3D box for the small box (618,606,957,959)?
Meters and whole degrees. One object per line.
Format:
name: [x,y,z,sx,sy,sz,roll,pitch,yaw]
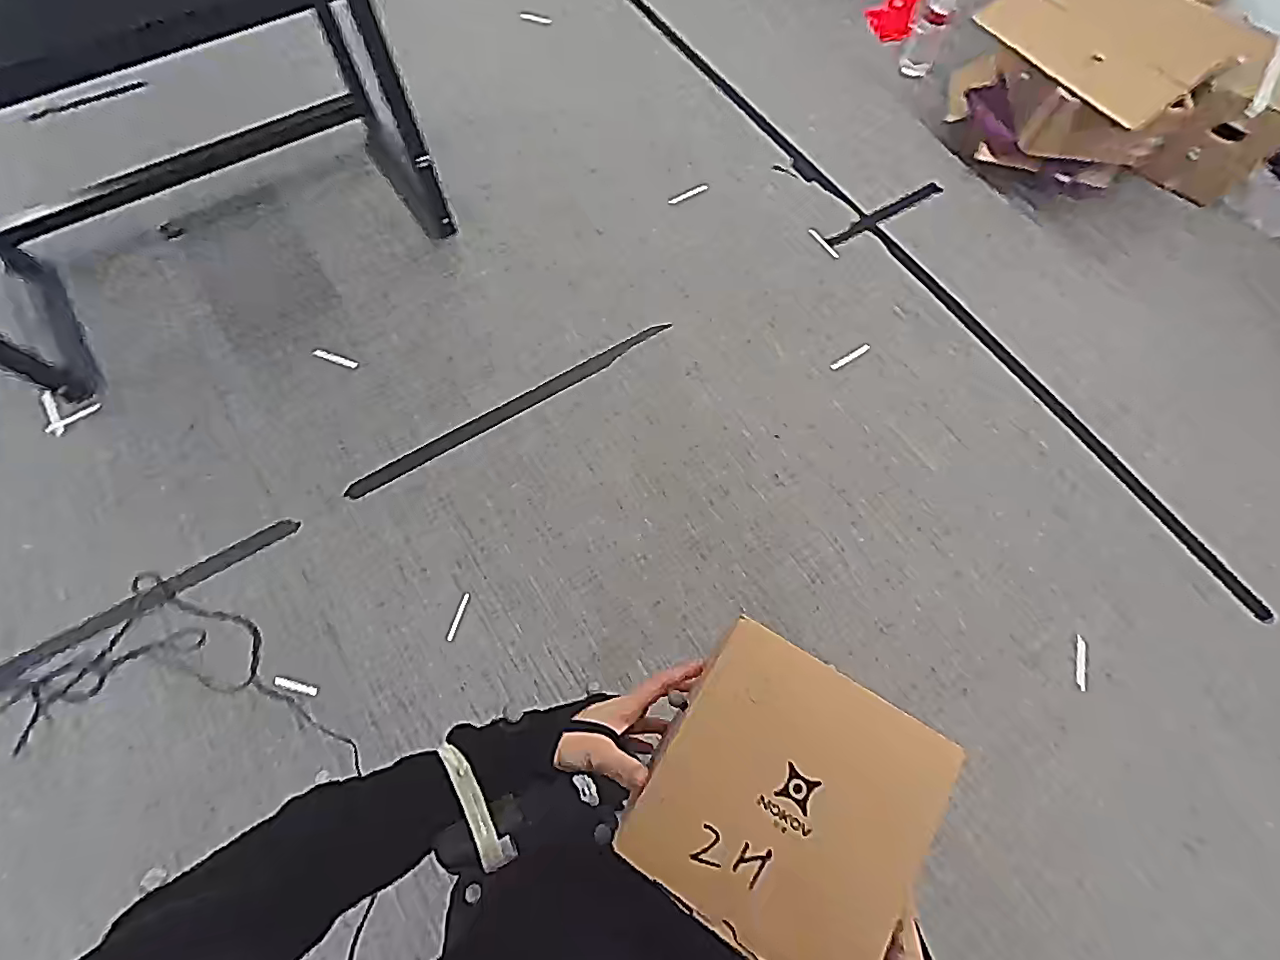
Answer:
small box: [0.100,0.223,0.423,0.168,0.176,0.179,29,75,13]
